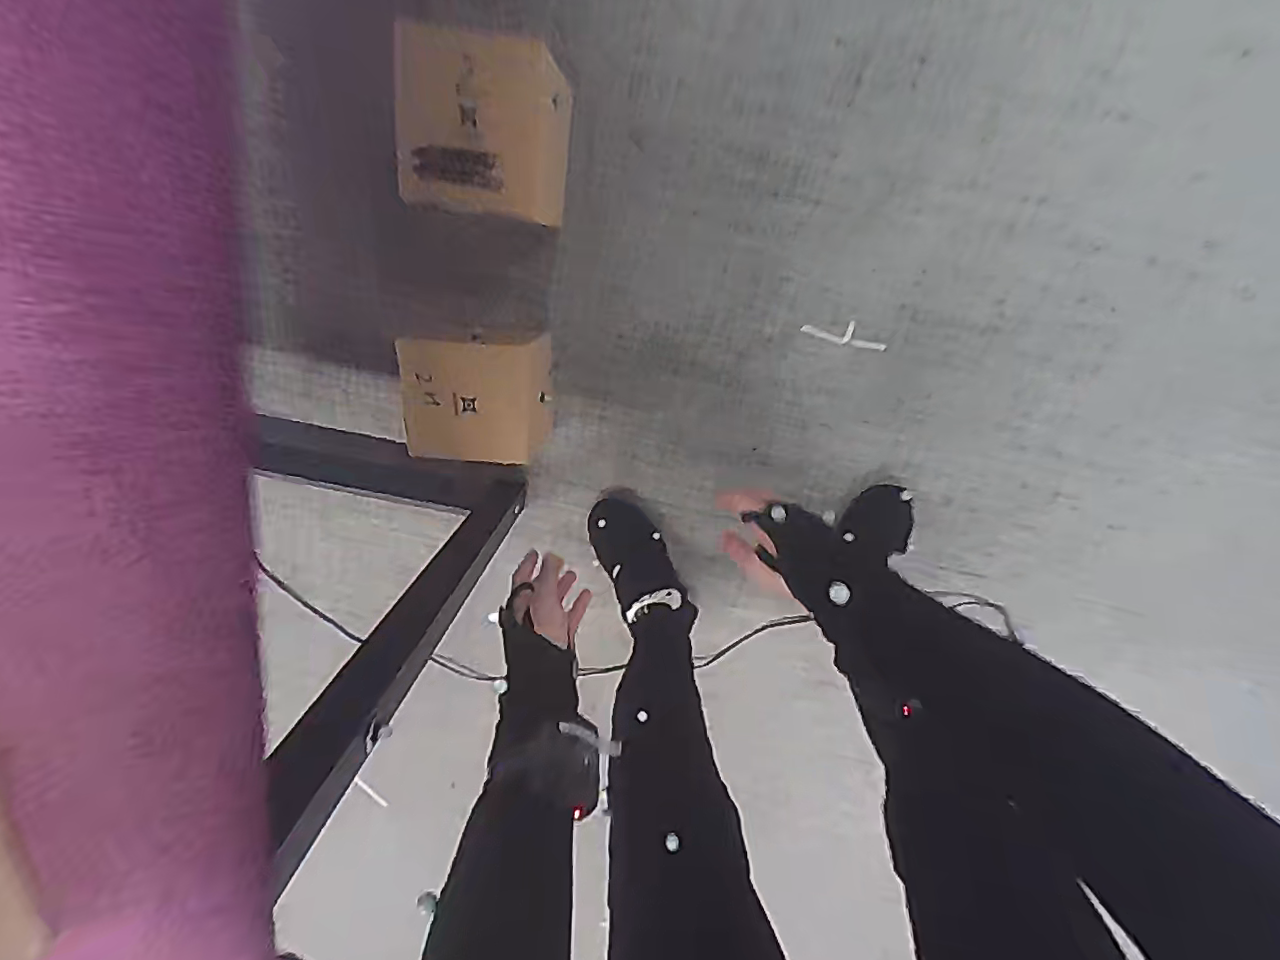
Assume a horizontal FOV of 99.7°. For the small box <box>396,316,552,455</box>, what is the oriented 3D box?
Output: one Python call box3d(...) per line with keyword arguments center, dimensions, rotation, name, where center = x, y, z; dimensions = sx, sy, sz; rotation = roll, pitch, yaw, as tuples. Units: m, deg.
box3d(center=(-0.229, -0.146, 0.796), dimensions=(0.179, 0.176, 0.168), rotation=(5, 112, 2), name="small box")
